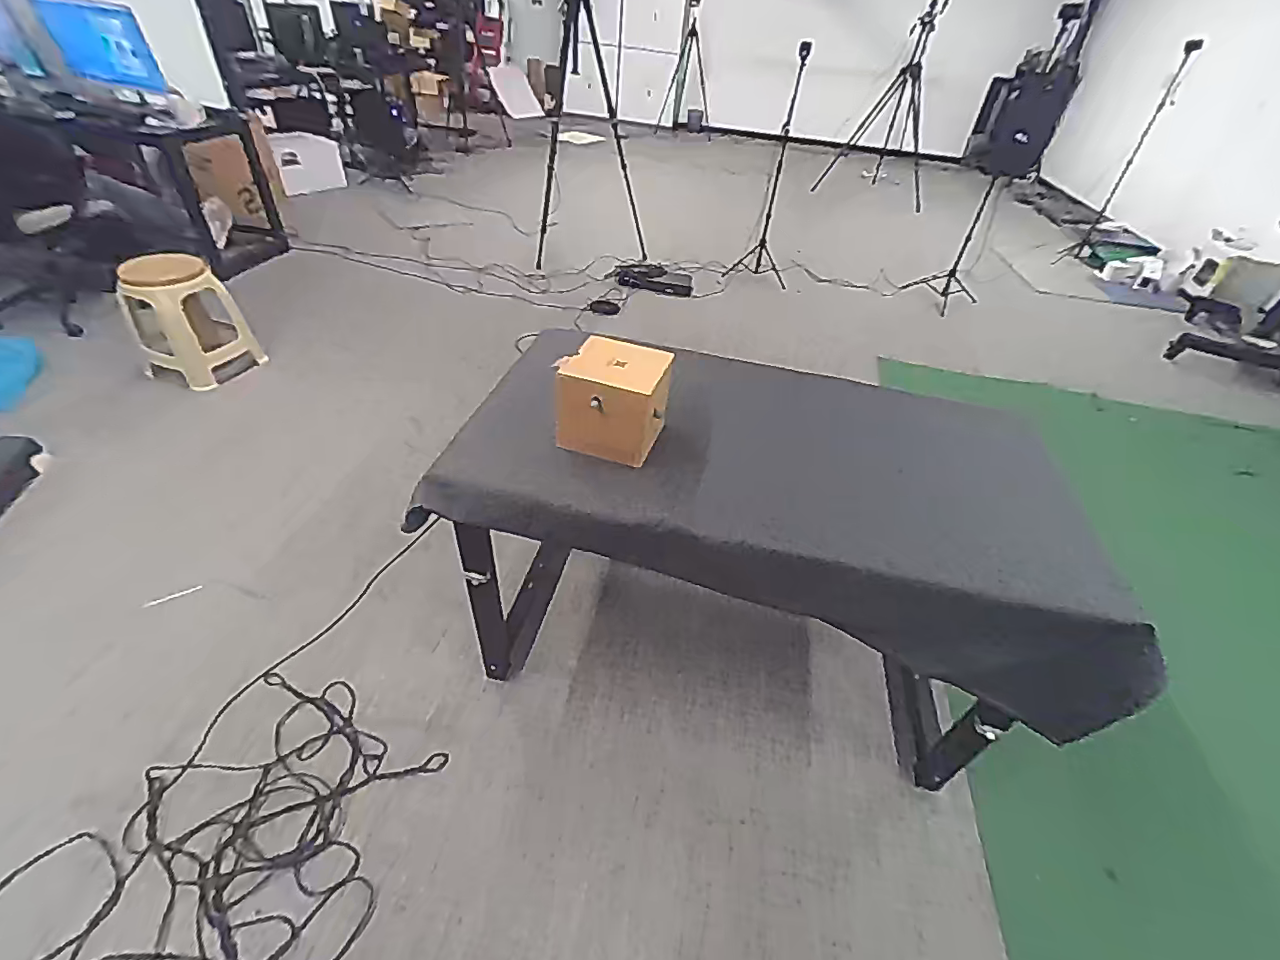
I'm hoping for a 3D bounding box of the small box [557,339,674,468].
[{"bbox_3d":[-0.048,-0.145,1.044,0.179,0.176,0.168,15,41,10],"label":"small box"}]
